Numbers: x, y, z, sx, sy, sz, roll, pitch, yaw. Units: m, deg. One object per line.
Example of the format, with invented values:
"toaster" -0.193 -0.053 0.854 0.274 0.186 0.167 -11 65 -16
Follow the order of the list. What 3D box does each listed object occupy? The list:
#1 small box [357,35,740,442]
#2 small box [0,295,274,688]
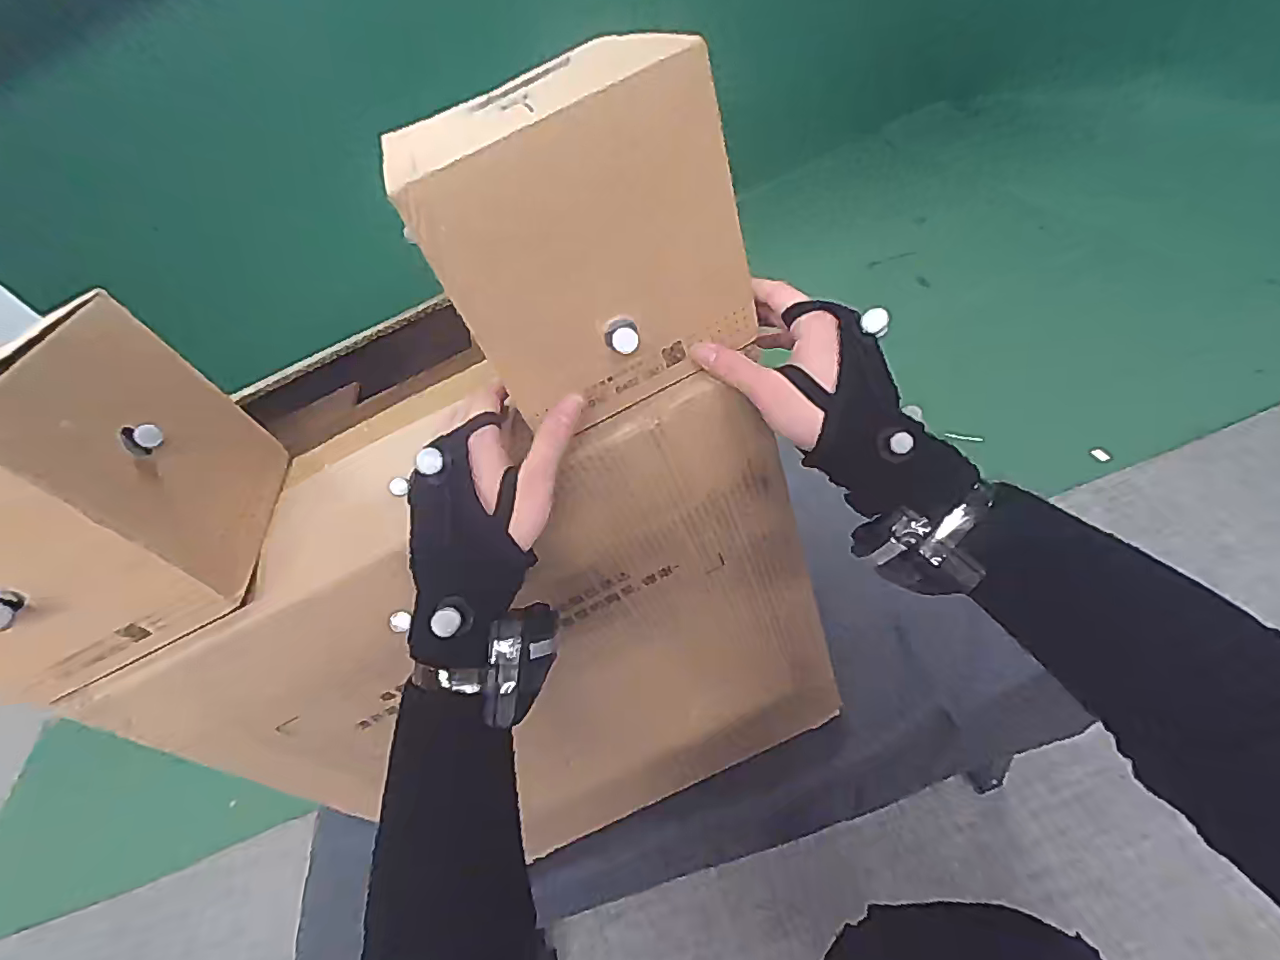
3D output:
"small box" -0.054 -0.157 0.358 0.168 0.176 0.179 -28 44 -1
"small box" -0.391 0.016 0.364 0.168 0.176 0.179 -27 44 2
